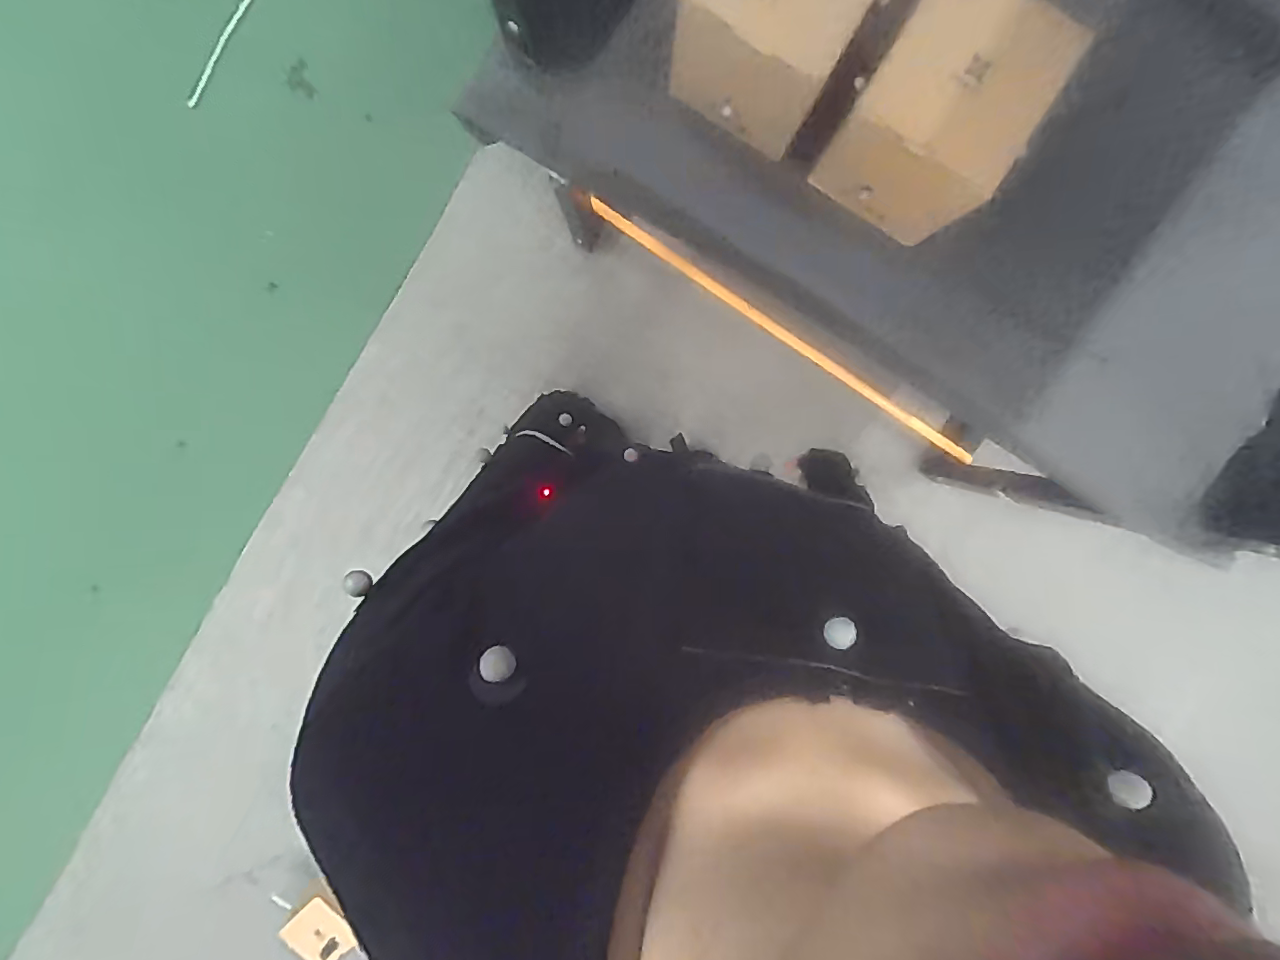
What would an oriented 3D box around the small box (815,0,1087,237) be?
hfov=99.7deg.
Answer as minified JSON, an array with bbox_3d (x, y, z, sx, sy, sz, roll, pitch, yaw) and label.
[{"bbox_3d":[0.328,-0.417,0.613,0.168,0.176,0.179,30,96,-3],"label":"small box"}]

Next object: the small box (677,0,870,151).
[{"bbox_3d":[0.151,-0.517,0.596,0.168,0.176,0.179,30,96,-4],"label":"small box"}]

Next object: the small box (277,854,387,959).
[{"bbox_3d":[-0.868,1.229,1.543,0.168,0.176,0.179,-42,94,4],"label":"small box"}]
